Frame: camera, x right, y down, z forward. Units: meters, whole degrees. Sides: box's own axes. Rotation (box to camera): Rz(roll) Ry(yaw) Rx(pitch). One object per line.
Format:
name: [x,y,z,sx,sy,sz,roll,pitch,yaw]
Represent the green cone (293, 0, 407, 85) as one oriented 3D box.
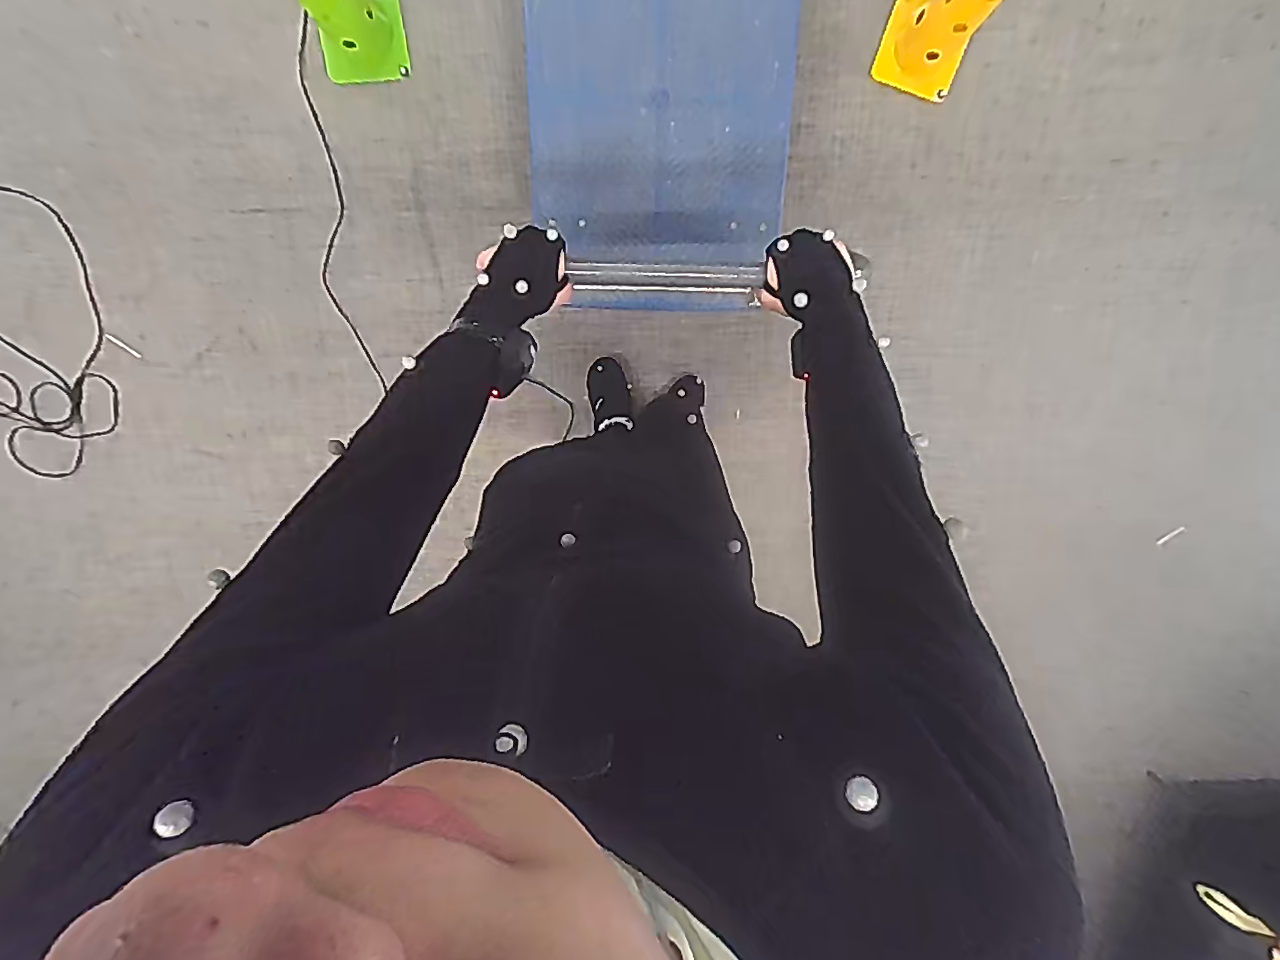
green cone: [-0.661,-0.995,1.100,0.202,0.368,0.200,-4,108,3]
